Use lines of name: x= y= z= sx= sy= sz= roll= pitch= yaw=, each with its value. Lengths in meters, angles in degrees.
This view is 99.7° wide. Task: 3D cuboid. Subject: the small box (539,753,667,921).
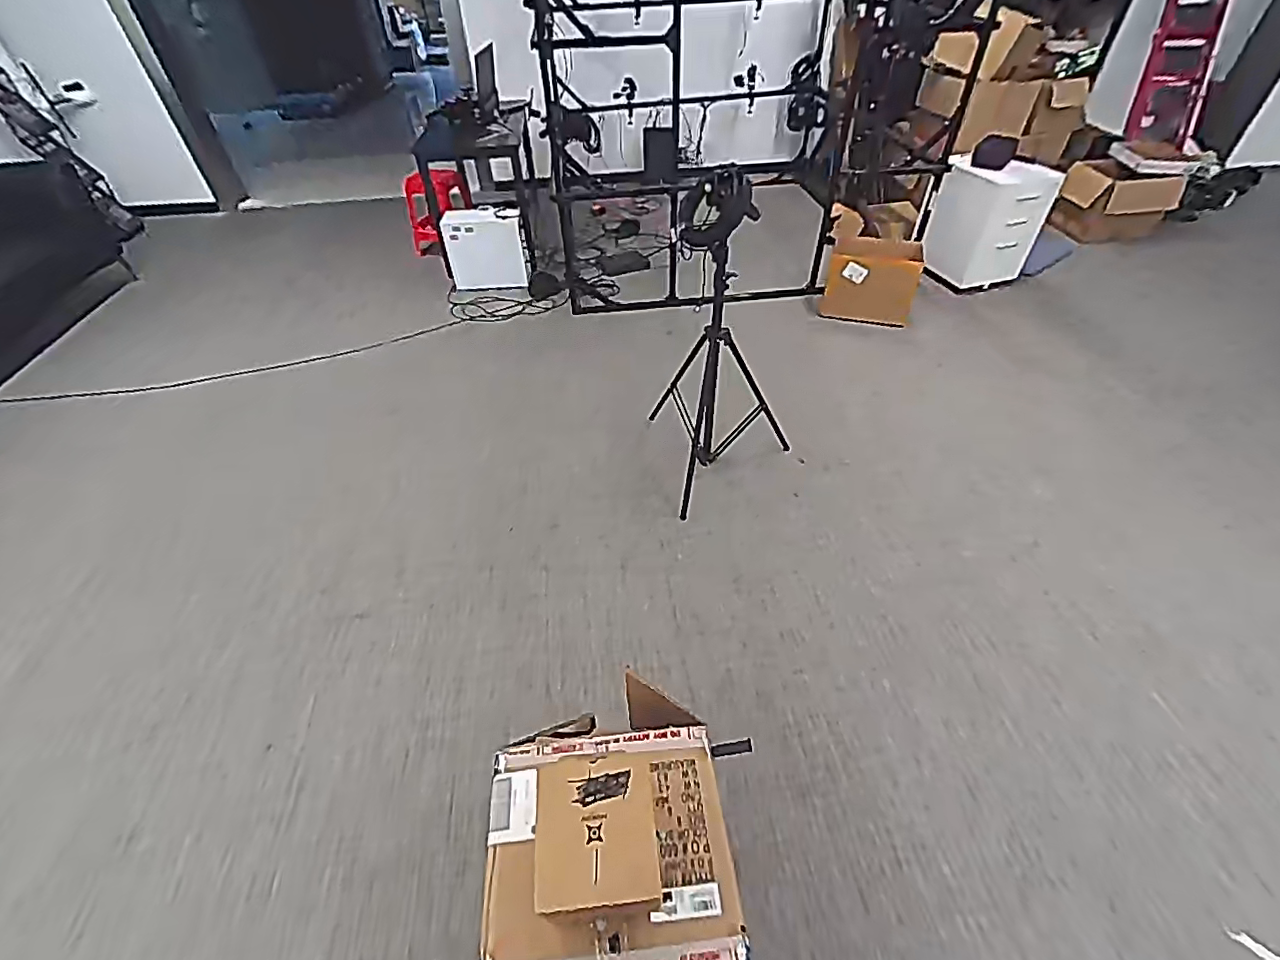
small box: x=-0.053 y=0.529 z=0.801 sx=0.168 sy=0.176 sz=0.179 roll=-5 pitch=48 yaw=-2
